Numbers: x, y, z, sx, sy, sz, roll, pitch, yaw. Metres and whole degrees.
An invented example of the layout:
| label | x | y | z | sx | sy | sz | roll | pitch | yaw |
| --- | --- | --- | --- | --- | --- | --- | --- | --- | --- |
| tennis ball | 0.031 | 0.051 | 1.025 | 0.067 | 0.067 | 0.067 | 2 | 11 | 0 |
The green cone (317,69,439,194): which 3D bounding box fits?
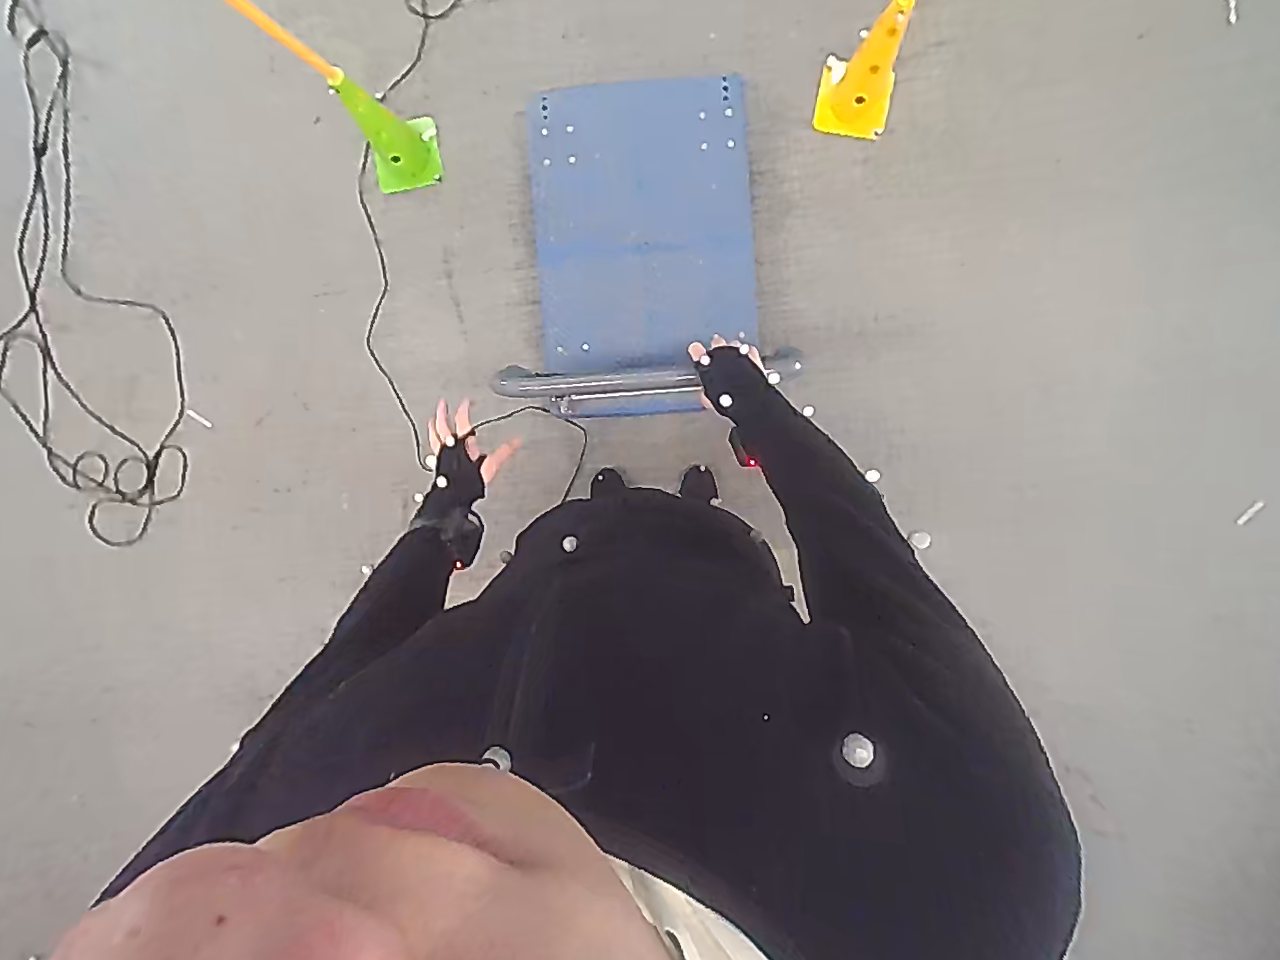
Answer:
| label | x | y | z | sx | sy | sz | roll | pitch | yaw |
| --- | --- | --- | --- | --- | --- | --- | --- | --- | --- |
| green cone | -0.732 | -0.977 | 1.467 | 0.202 | 0.368 | 0.200 | -10 | 91 | 6 |
